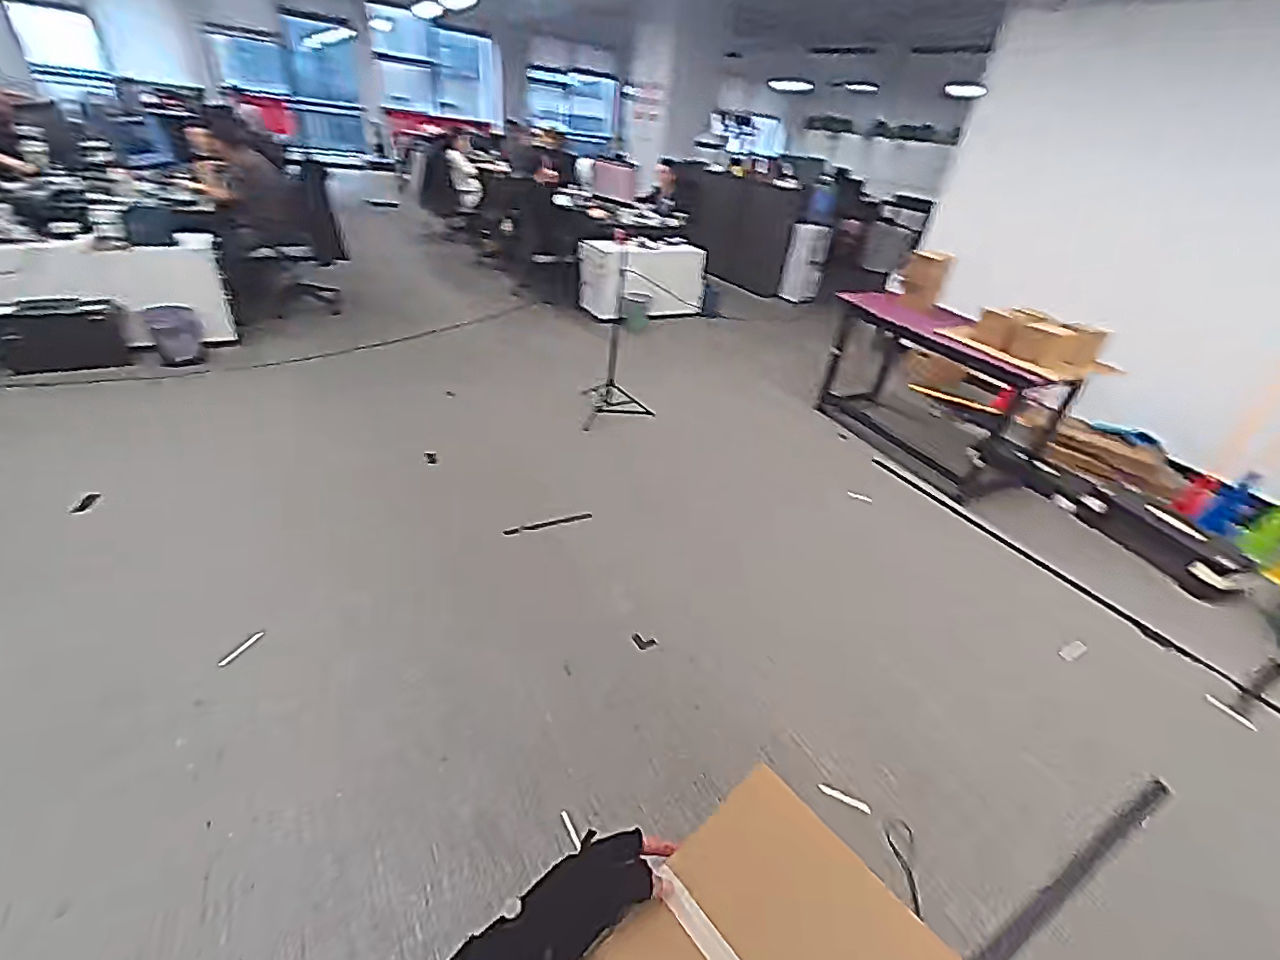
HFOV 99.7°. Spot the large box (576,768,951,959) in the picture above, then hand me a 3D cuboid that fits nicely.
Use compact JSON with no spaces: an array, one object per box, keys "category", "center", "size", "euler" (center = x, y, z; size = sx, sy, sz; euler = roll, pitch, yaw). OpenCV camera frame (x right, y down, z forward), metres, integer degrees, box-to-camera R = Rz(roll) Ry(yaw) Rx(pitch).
[{"category":"large box","center":[0.132,0.584,0.500],"size":[0.320,0.320,0.408],"euler":[-27,50,-34]}]
